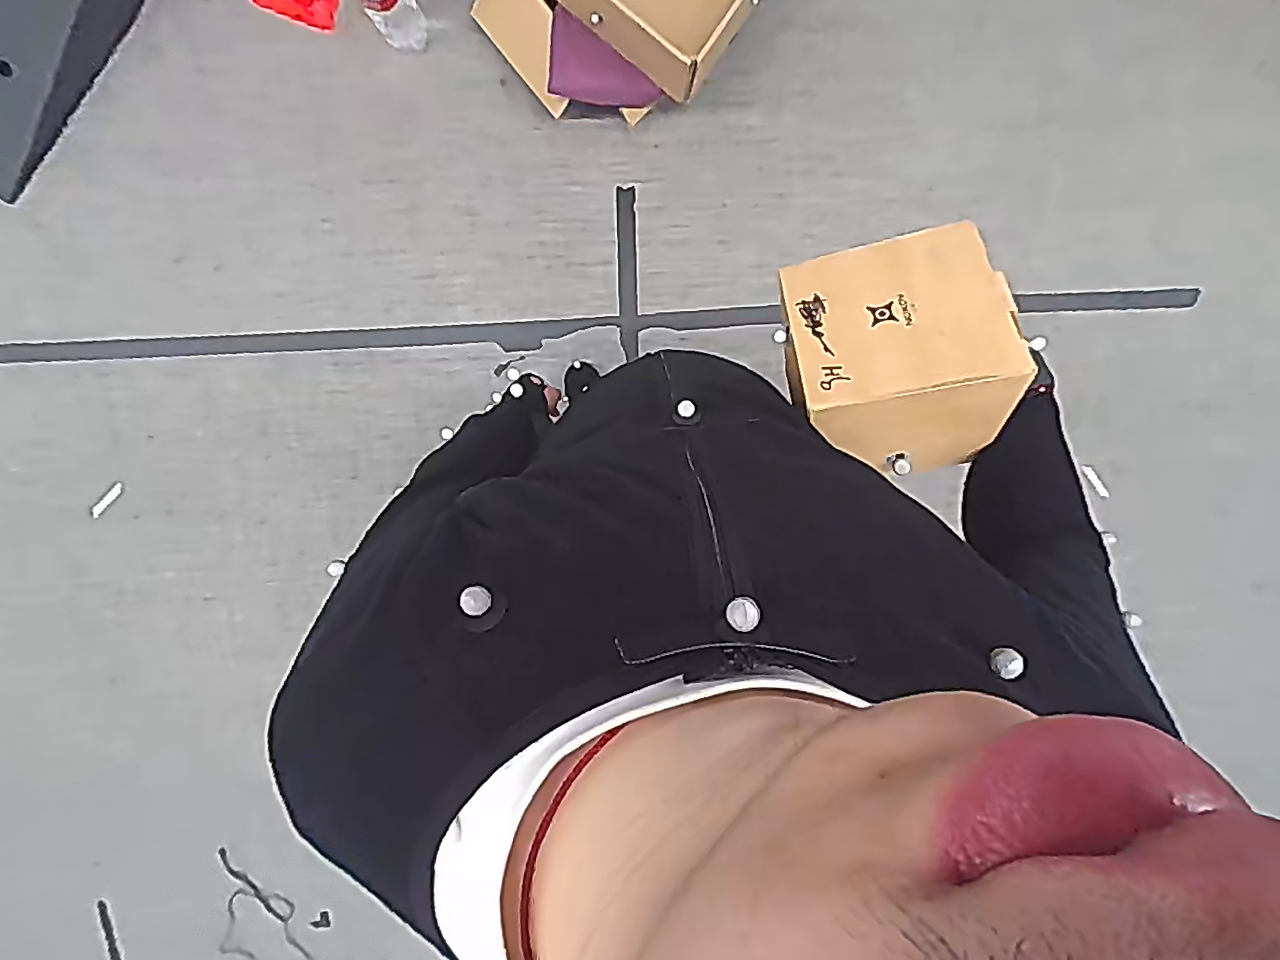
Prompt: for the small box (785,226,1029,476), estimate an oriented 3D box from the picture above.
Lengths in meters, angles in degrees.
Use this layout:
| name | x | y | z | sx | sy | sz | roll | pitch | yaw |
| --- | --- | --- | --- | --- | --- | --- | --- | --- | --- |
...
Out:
| name | x | y | z | sx | sy | sz | roll | pitch | yaw |
| --- | --- | --- | --- | --- | --- | --- | --- | --- | --- |
| small box | 0.251 | -0.119 | 0.557 | 0.179 | 0.176 | 0.168 | -9 | 64 | 14 |
